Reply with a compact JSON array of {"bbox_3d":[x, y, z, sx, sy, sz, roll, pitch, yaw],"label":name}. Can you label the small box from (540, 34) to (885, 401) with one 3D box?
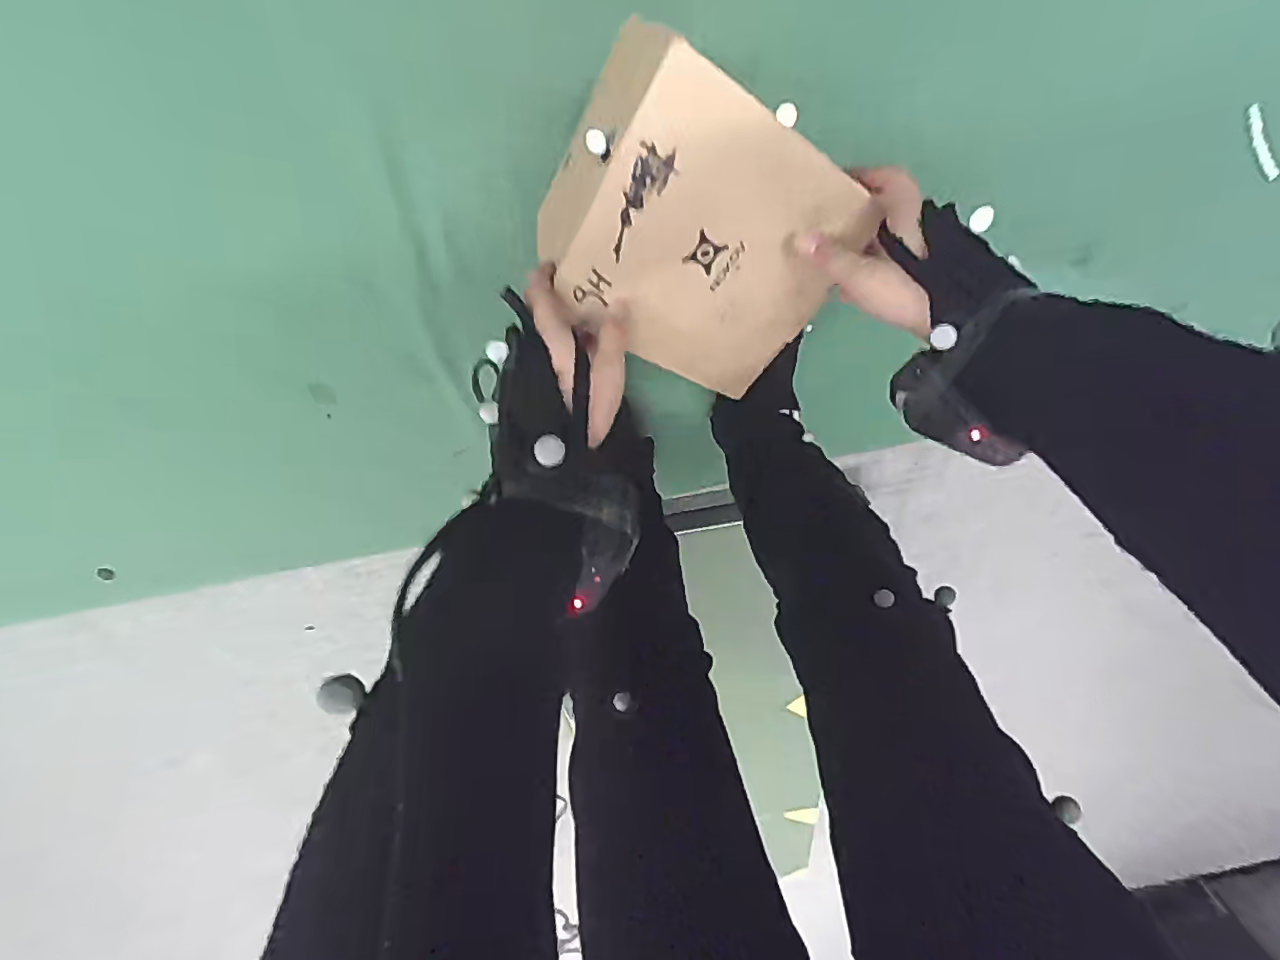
[{"bbox_3d":[0.037,-0.196,0.412,0.179,0.176,0.168,19,127,-28],"label":"small box"}]
